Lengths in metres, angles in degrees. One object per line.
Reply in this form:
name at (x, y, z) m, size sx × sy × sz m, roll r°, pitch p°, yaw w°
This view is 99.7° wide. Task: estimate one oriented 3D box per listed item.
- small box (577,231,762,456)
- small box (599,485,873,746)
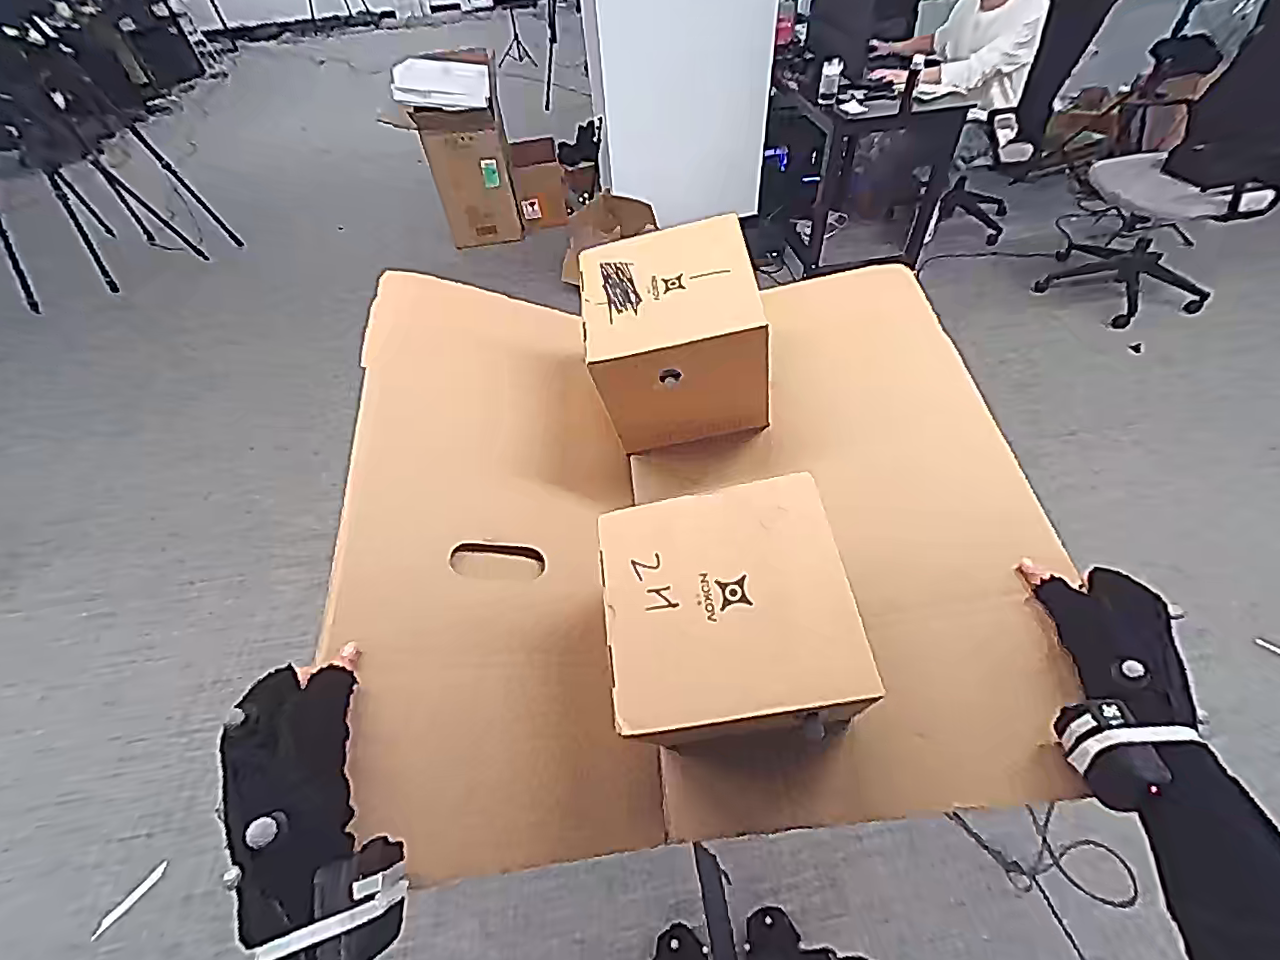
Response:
small box at (0.038, -0.145, 0.623) m, size 0.179 × 0.176 × 0.168 m, roll -11°, pitch 60°, yaw 7°
small box at (0.075, 0.126, 0.465) m, size 0.179 × 0.176 × 0.168 m, roll -12°, pitch 60°, yaw 8°
